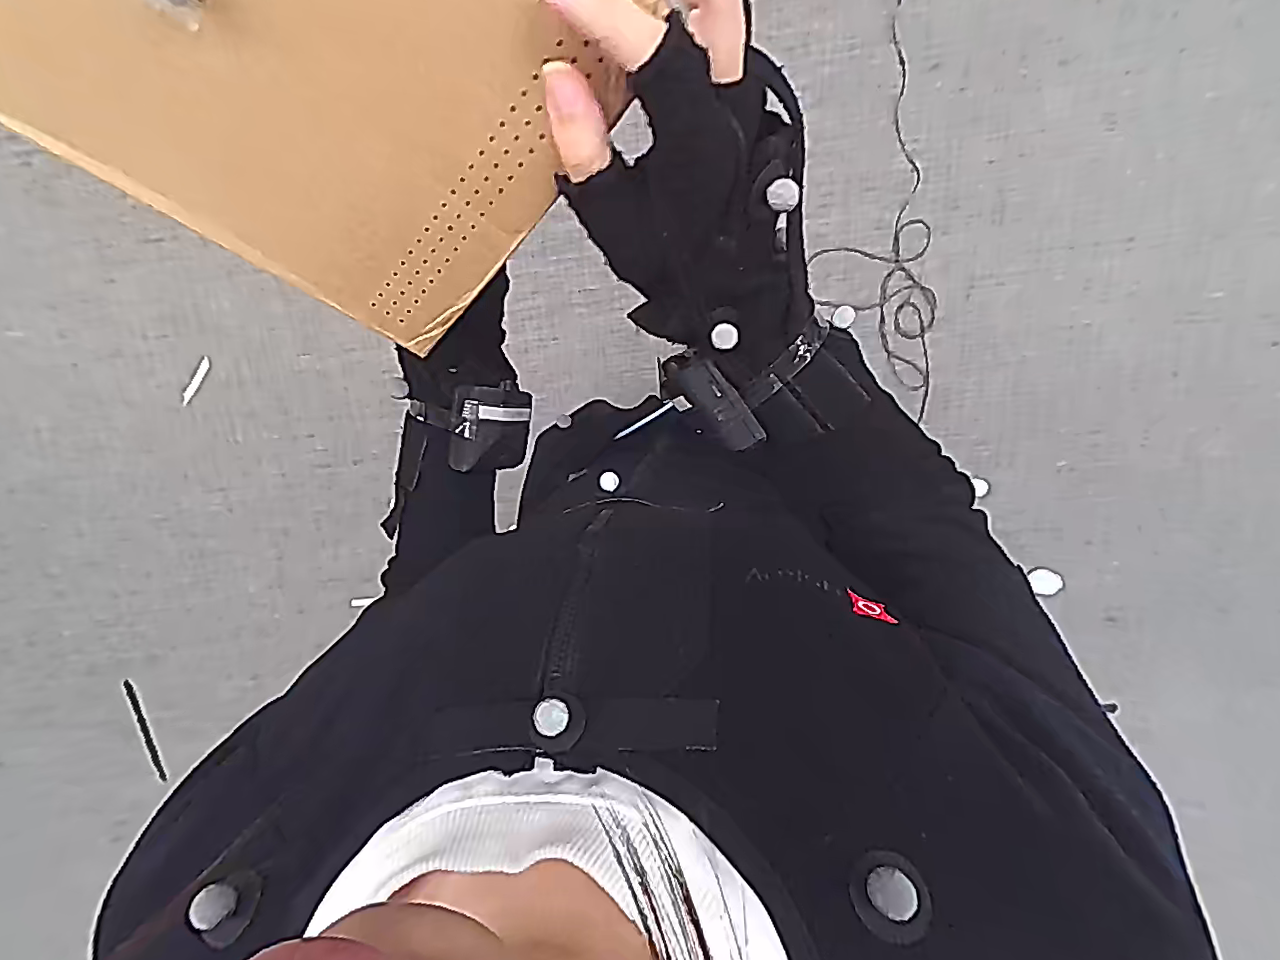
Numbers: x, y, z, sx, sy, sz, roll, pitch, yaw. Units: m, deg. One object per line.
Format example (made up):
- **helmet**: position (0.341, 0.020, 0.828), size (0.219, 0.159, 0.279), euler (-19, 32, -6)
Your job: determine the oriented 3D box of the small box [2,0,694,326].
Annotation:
- **small box**: position (-0.105, -0.205, 0.239), size (0.179, 0.168, 0.176), euler (-37, 136, 27)
